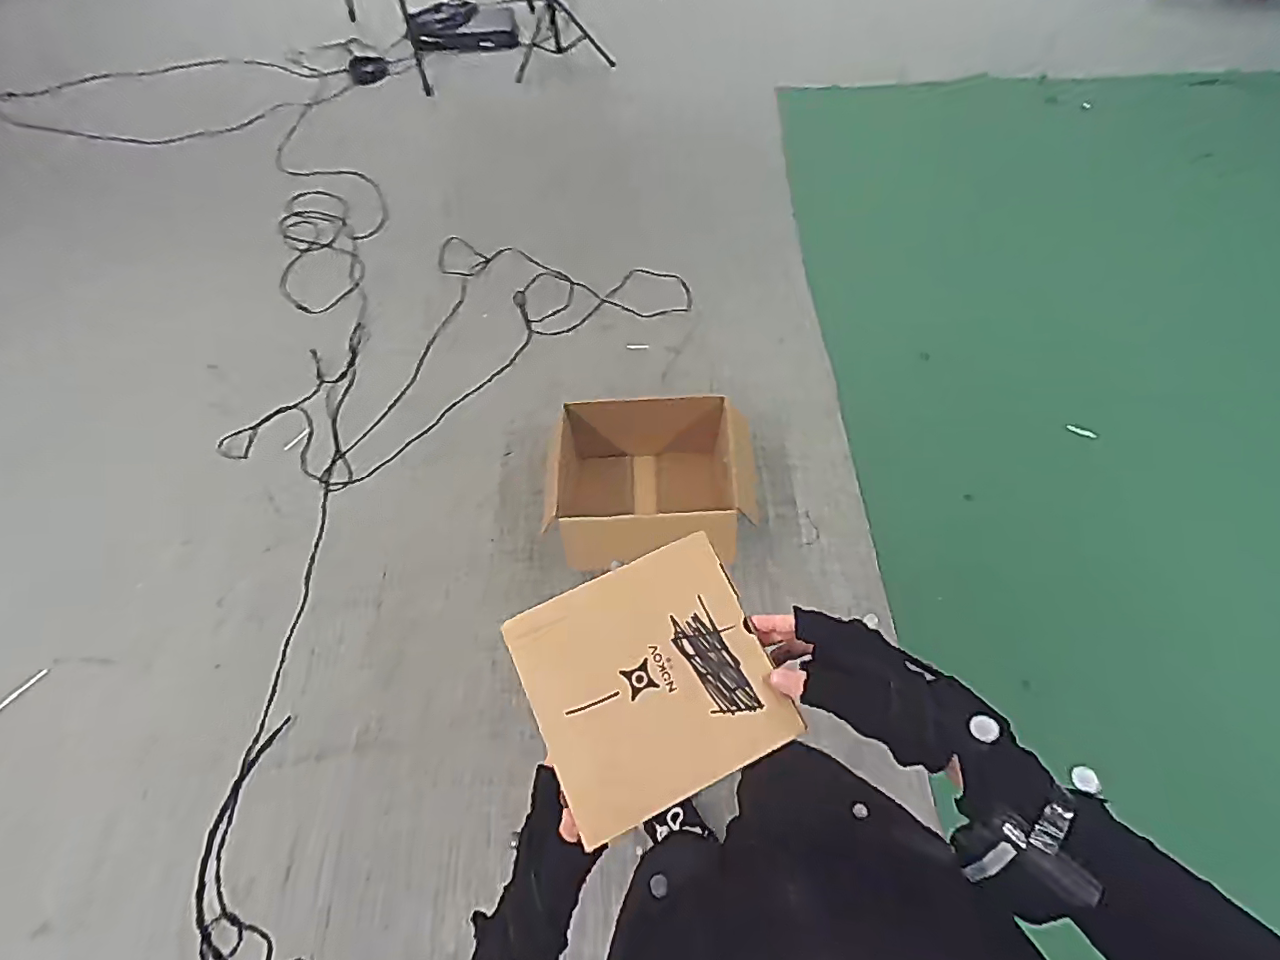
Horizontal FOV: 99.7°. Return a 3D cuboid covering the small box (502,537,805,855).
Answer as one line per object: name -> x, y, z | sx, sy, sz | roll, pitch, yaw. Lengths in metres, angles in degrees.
small box -> 0.006, 0.170, 0.464 | 0.179, 0.176, 0.168 | -23, 72, -8
